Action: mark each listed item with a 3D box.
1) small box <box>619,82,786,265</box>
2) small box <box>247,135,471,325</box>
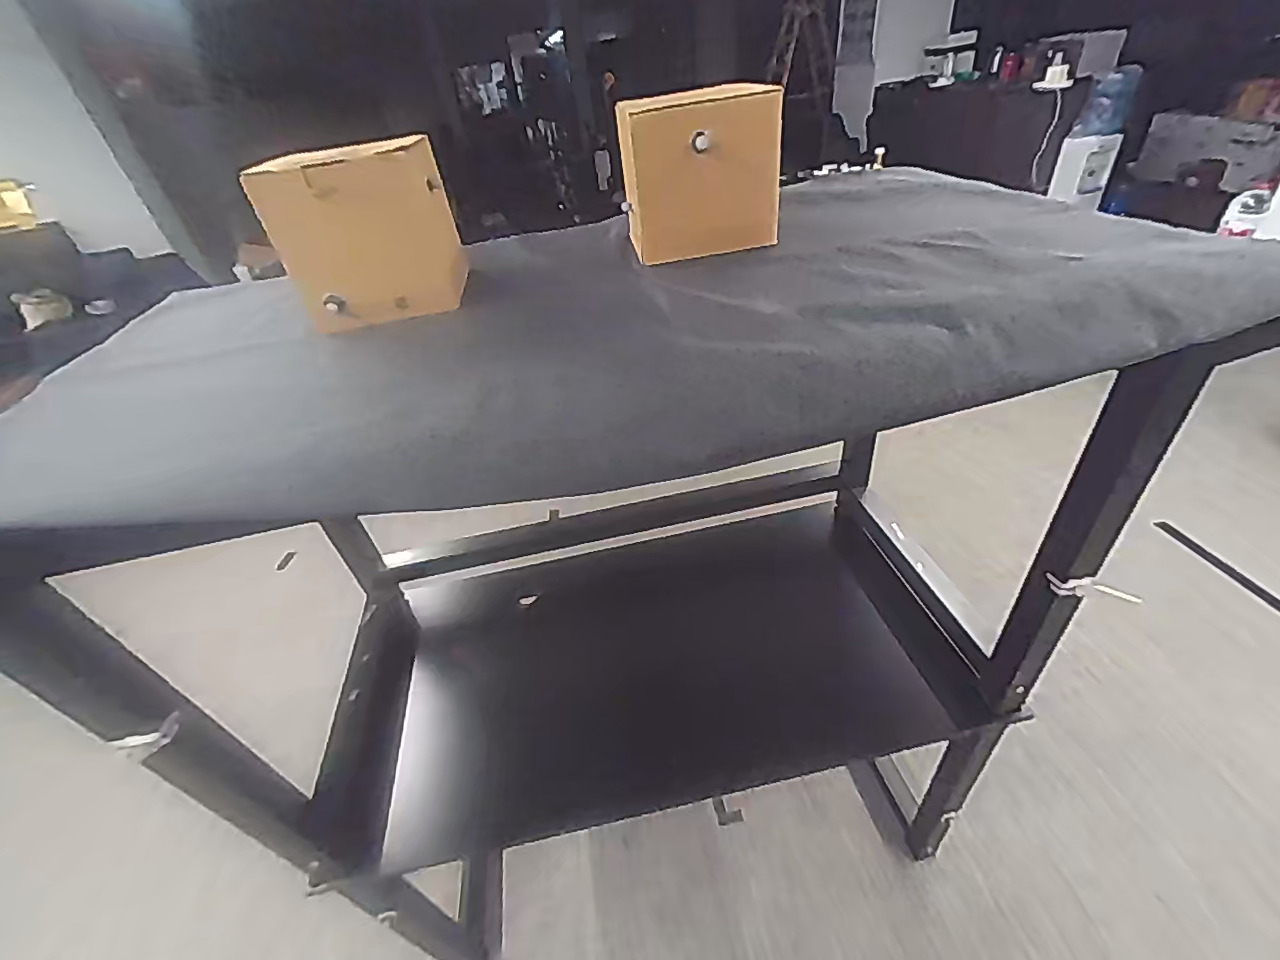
[{"bbox_3d":[0.076,-0.396,0.699,0.179,0.176,0.168,-10,38,0],"label":"small box"},{"bbox_3d":[-0.315,-0.299,0.654,0.168,0.176,0.179,-12,37,-3],"label":"small box"}]
